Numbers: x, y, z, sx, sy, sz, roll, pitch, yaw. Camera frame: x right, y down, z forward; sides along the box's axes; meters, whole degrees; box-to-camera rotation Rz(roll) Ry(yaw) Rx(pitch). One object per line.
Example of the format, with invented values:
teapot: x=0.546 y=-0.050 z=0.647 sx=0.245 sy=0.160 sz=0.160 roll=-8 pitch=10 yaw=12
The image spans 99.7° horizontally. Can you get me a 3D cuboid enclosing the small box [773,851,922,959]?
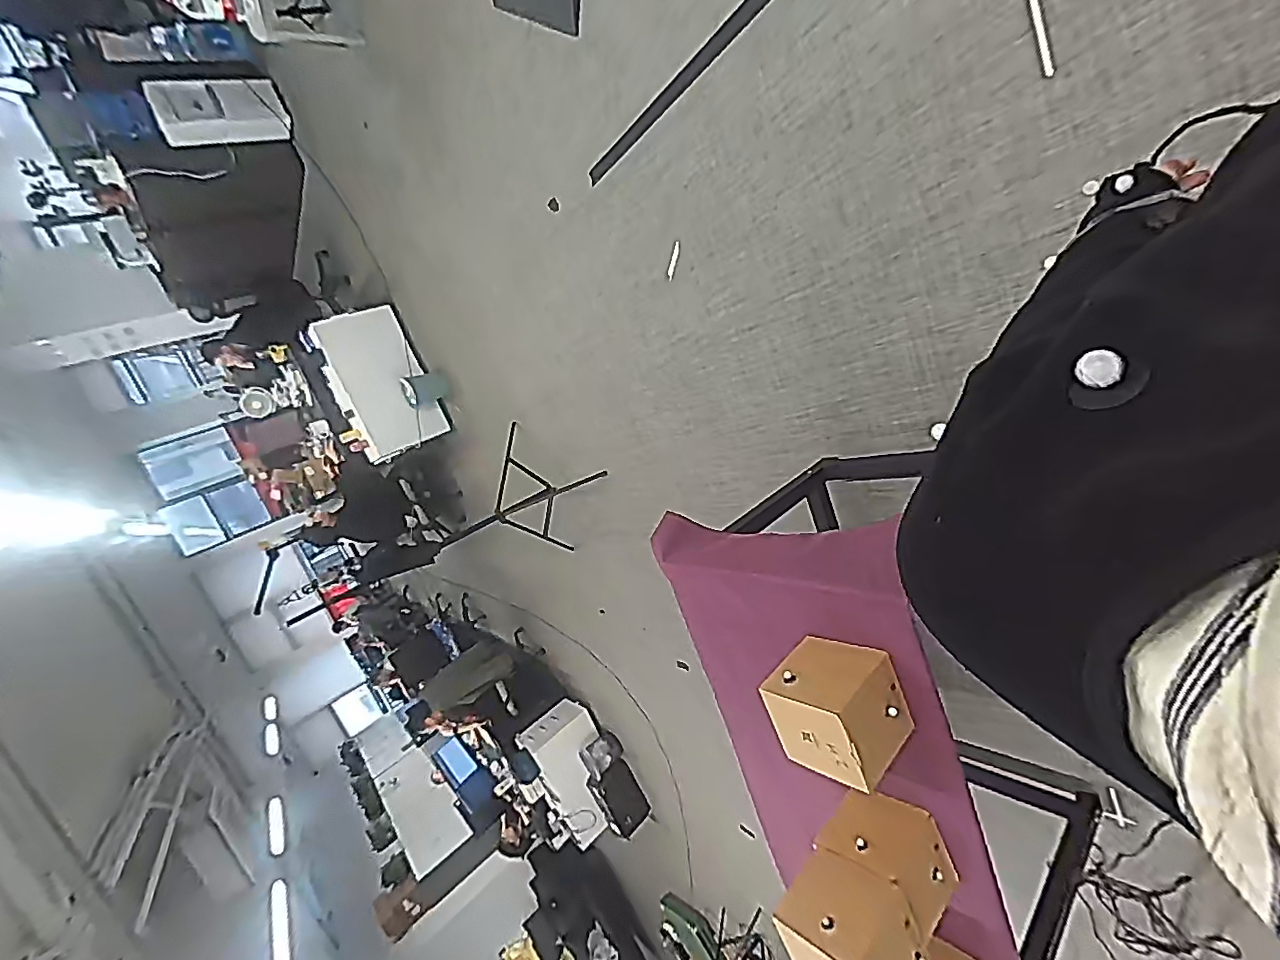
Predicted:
small box: x=0.381 y=0.822 z=0.974 sx=0.179 sy=0.176 sz=0.168 roll=-12 pitch=105 yaw=55

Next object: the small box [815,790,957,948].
small box: x=0.490 y=0.758 z=1.079 sx=0.179 sy=0.176 sz=0.168 roll=-14 pitch=104 yaw=55

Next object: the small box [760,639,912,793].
small box: x=0.356 y=0.413 z=0.982 sx=0.179 sy=0.176 sz=0.168 roll=-7 pitch=111 yaw=54
